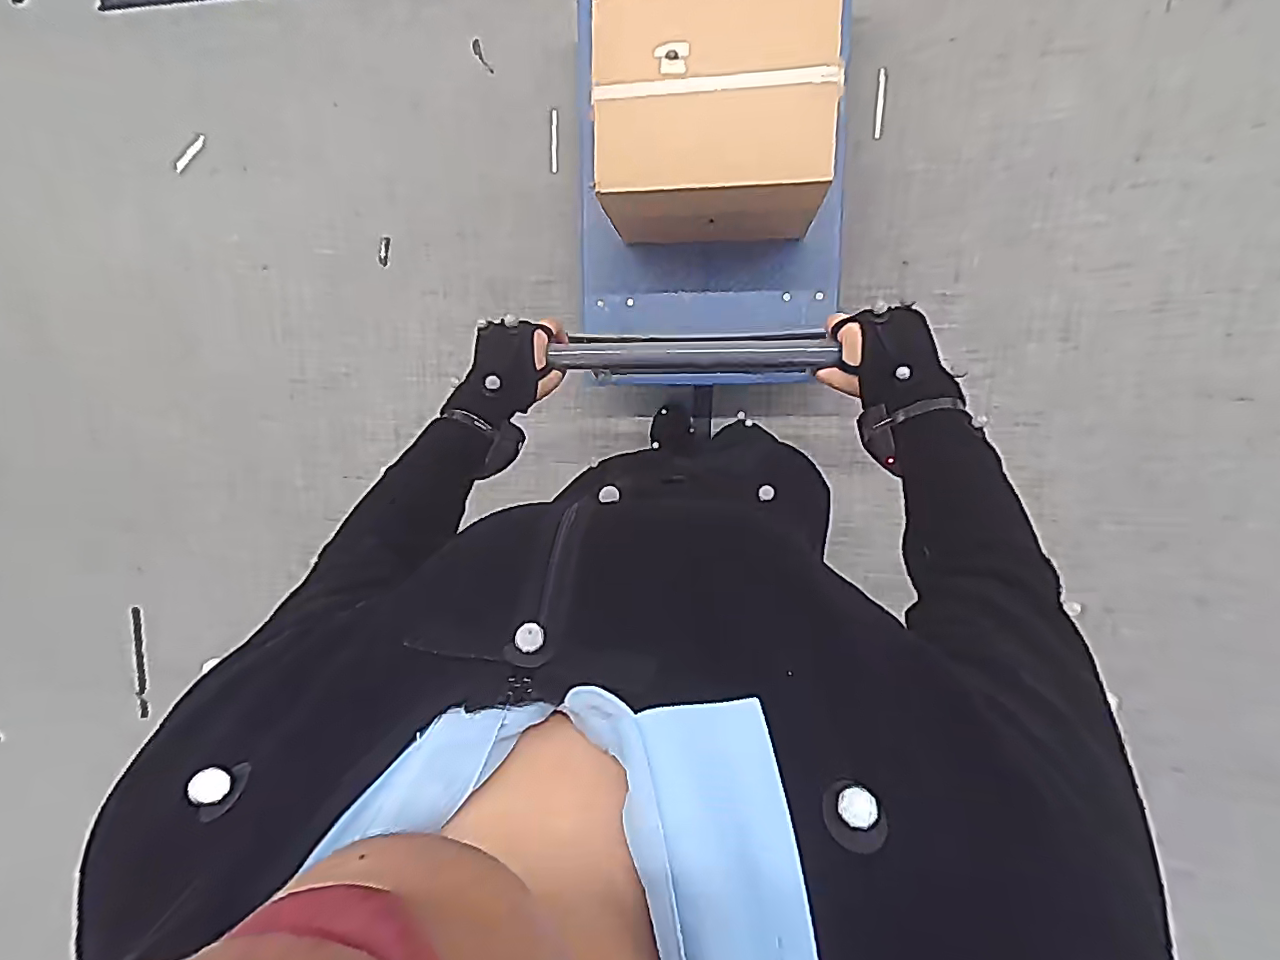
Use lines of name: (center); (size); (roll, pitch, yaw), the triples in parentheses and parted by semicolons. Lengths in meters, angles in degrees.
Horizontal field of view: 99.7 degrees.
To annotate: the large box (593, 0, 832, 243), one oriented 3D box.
large box: (0.142, -0.675, 1.063); (0.408, 0.320, 0.320); (1, 97, 9)
